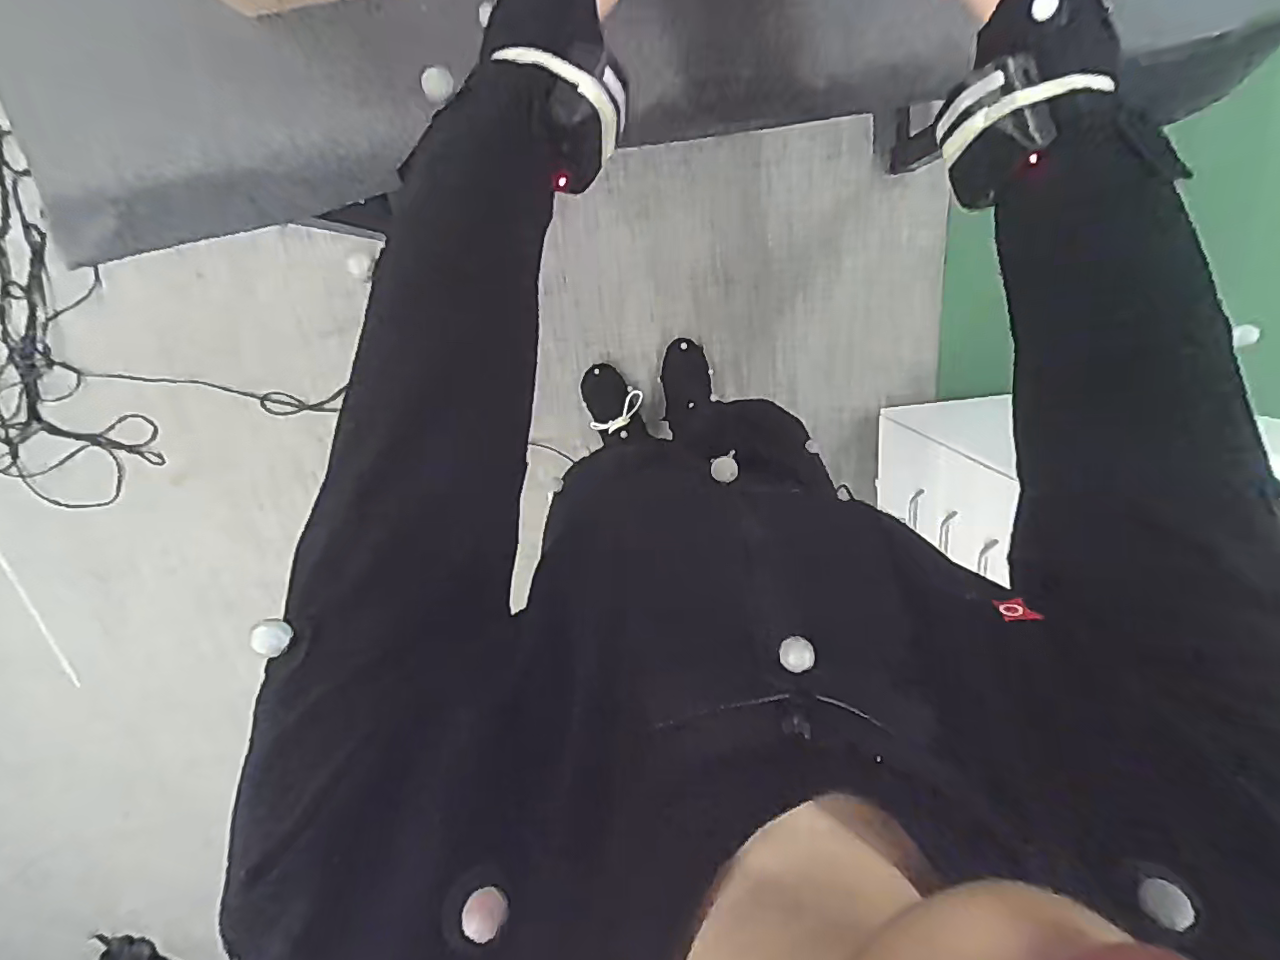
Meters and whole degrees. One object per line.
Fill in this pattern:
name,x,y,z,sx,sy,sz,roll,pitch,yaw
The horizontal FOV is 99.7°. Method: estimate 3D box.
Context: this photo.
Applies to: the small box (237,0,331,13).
small box,-0.291,-0.483,0.378,0.168,0.176,0.179,-8,108,2
